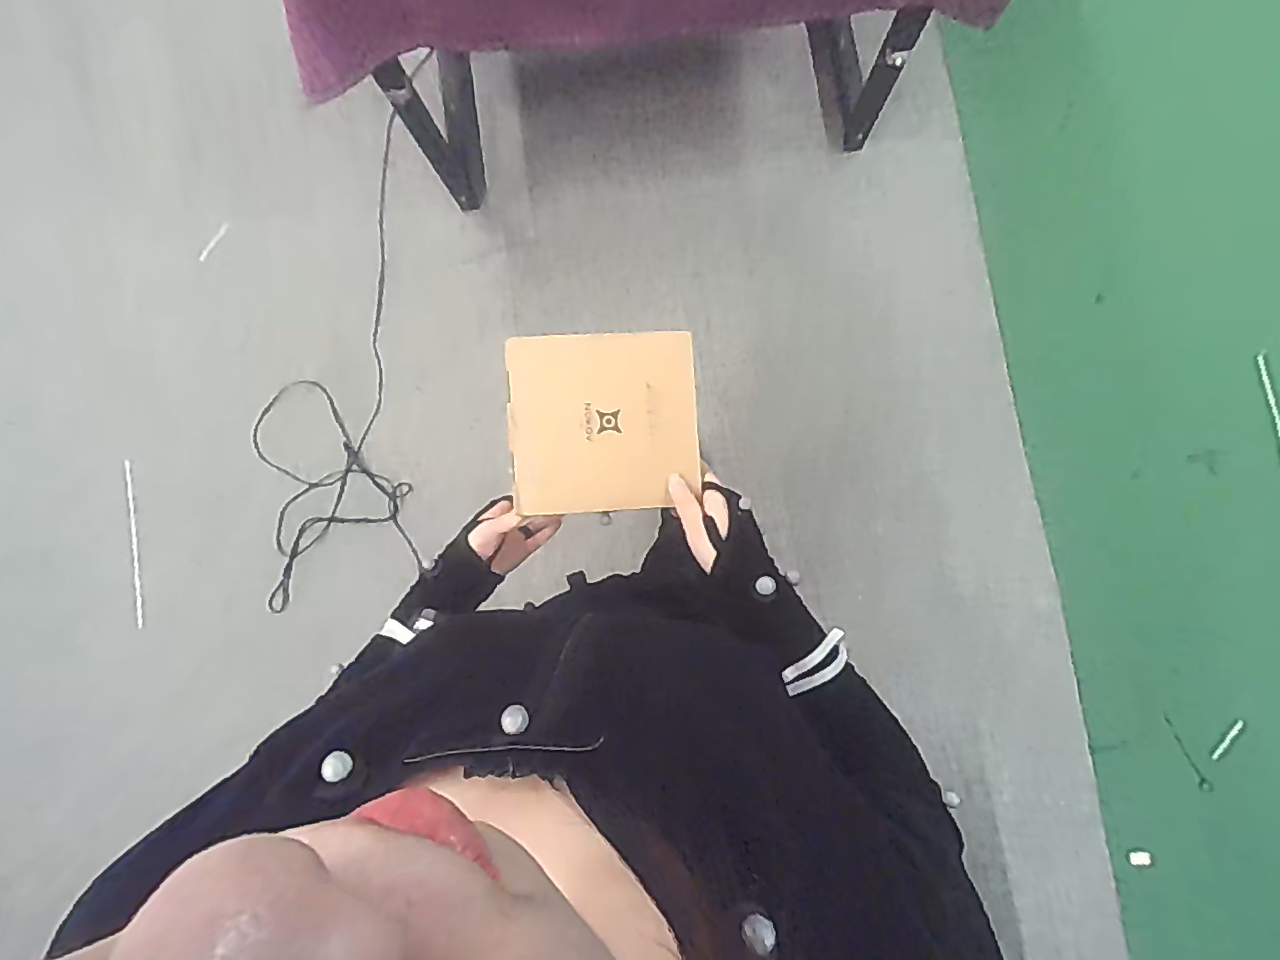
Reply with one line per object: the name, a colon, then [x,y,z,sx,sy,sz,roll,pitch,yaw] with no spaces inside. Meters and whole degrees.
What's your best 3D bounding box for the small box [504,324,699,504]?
small box: [-0.040,-0.059,0.576,0.179,0.176,0.168,-3,89,-5]
